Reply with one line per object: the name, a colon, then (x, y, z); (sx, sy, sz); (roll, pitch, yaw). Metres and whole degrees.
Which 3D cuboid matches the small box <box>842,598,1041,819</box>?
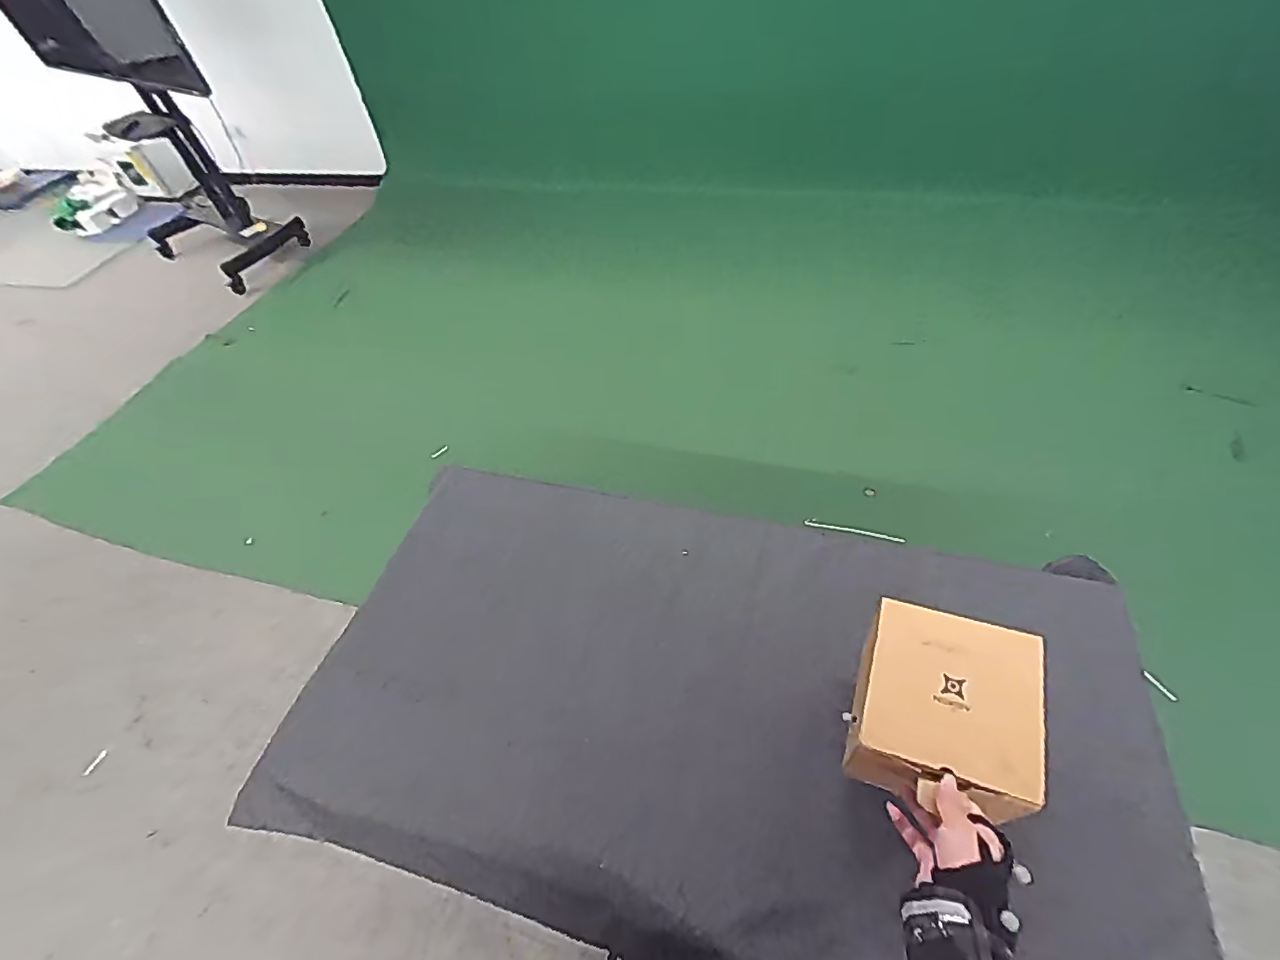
small box: (0.345, 0.273, 0.640); (0.168, 0.176, 0.179); (14, 57, 21)
